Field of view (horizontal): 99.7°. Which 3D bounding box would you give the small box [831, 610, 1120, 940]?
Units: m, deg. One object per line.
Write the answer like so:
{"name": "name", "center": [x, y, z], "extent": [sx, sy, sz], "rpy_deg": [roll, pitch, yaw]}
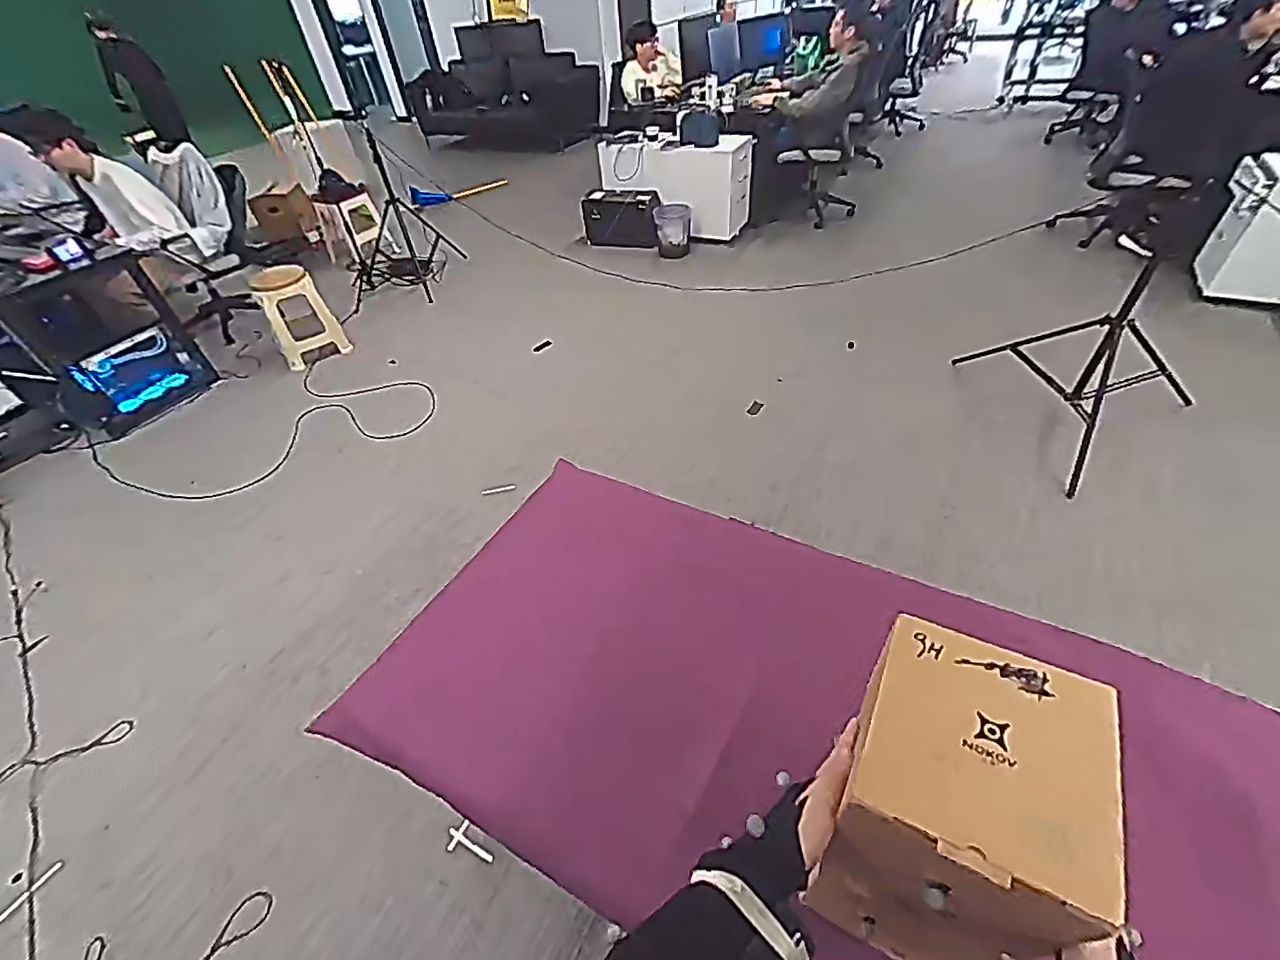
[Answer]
{"name": "small box", "center": [0.276, 0.254, 0.470], "extent": [0.168, 0.176, 0.179], "rpy_deg": [19, 51, 25]}

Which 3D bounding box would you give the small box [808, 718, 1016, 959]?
{"name": "small box", "center": [0.291, 0.397, 0.589], "extent": [0.168, 0.176, 0.179], "rpy_deg": [18, 48, 24]}
